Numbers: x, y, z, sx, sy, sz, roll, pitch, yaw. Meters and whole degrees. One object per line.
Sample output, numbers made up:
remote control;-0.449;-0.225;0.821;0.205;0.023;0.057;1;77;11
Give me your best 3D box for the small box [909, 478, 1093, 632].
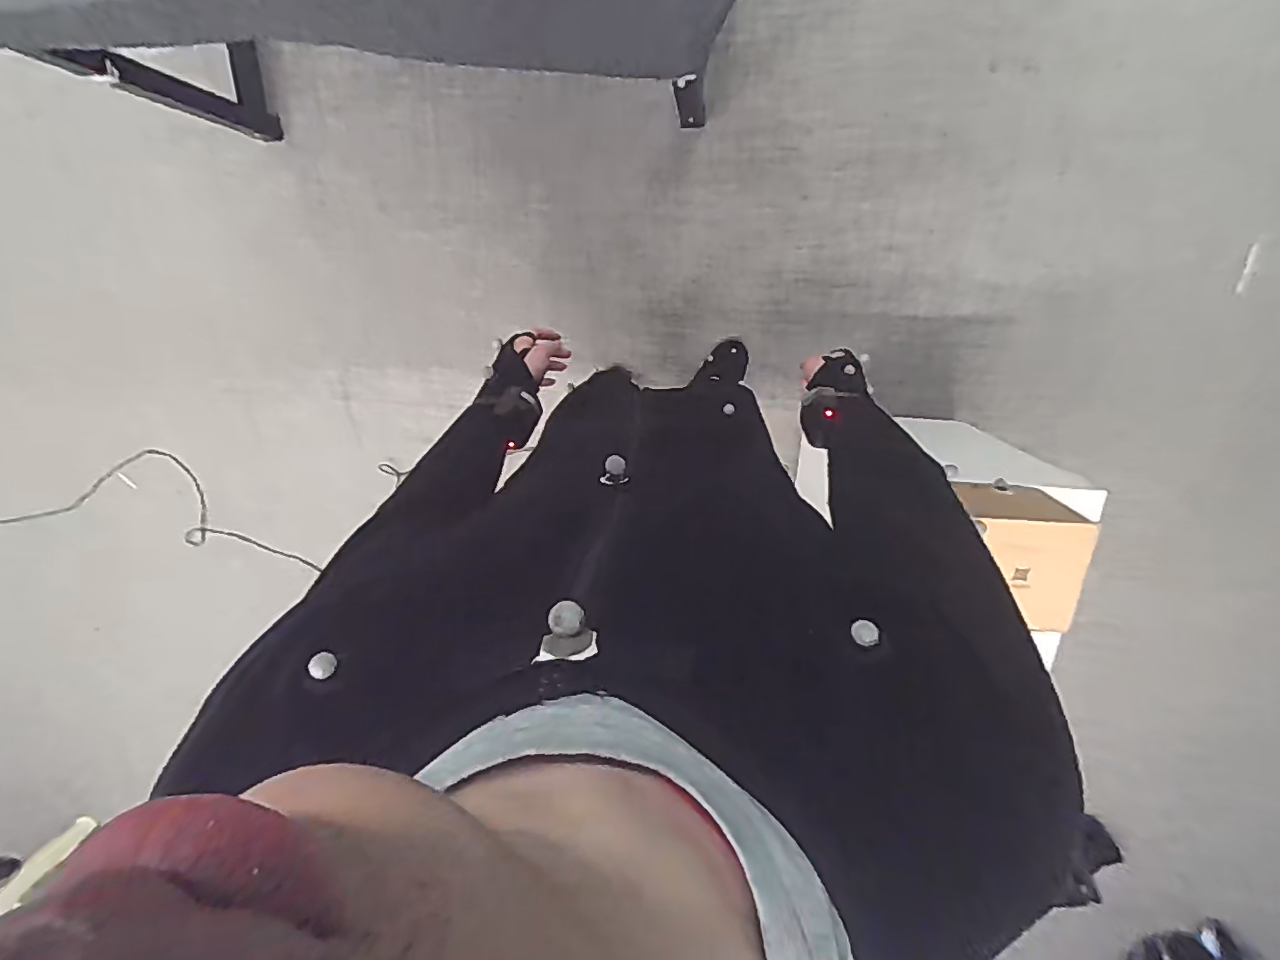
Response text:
small box;0.538;0.109;0.838;0.168;0.176;0.179;2;108;5
